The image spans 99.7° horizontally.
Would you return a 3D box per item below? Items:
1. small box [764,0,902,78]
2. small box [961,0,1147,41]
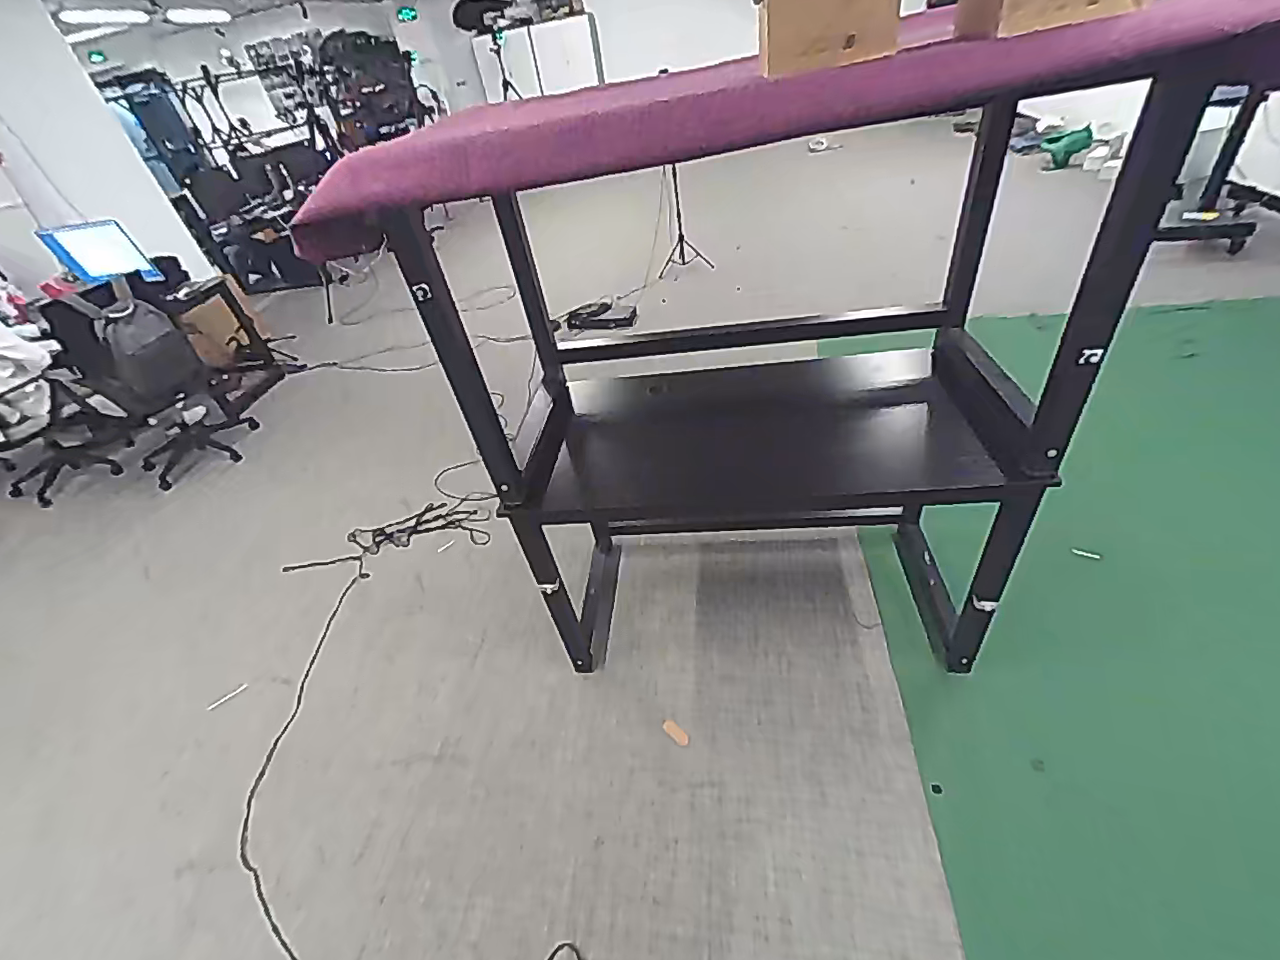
[{"bbox_3d":[0.259,-0.669,0.742,0.168,0.176,0.179,-2,38,10],"label":"small box"},{"bbox_3d":[0.535,-0.679,0.685,0.168,0.176,0.179,-3,39,12],"label":"small box"}]
